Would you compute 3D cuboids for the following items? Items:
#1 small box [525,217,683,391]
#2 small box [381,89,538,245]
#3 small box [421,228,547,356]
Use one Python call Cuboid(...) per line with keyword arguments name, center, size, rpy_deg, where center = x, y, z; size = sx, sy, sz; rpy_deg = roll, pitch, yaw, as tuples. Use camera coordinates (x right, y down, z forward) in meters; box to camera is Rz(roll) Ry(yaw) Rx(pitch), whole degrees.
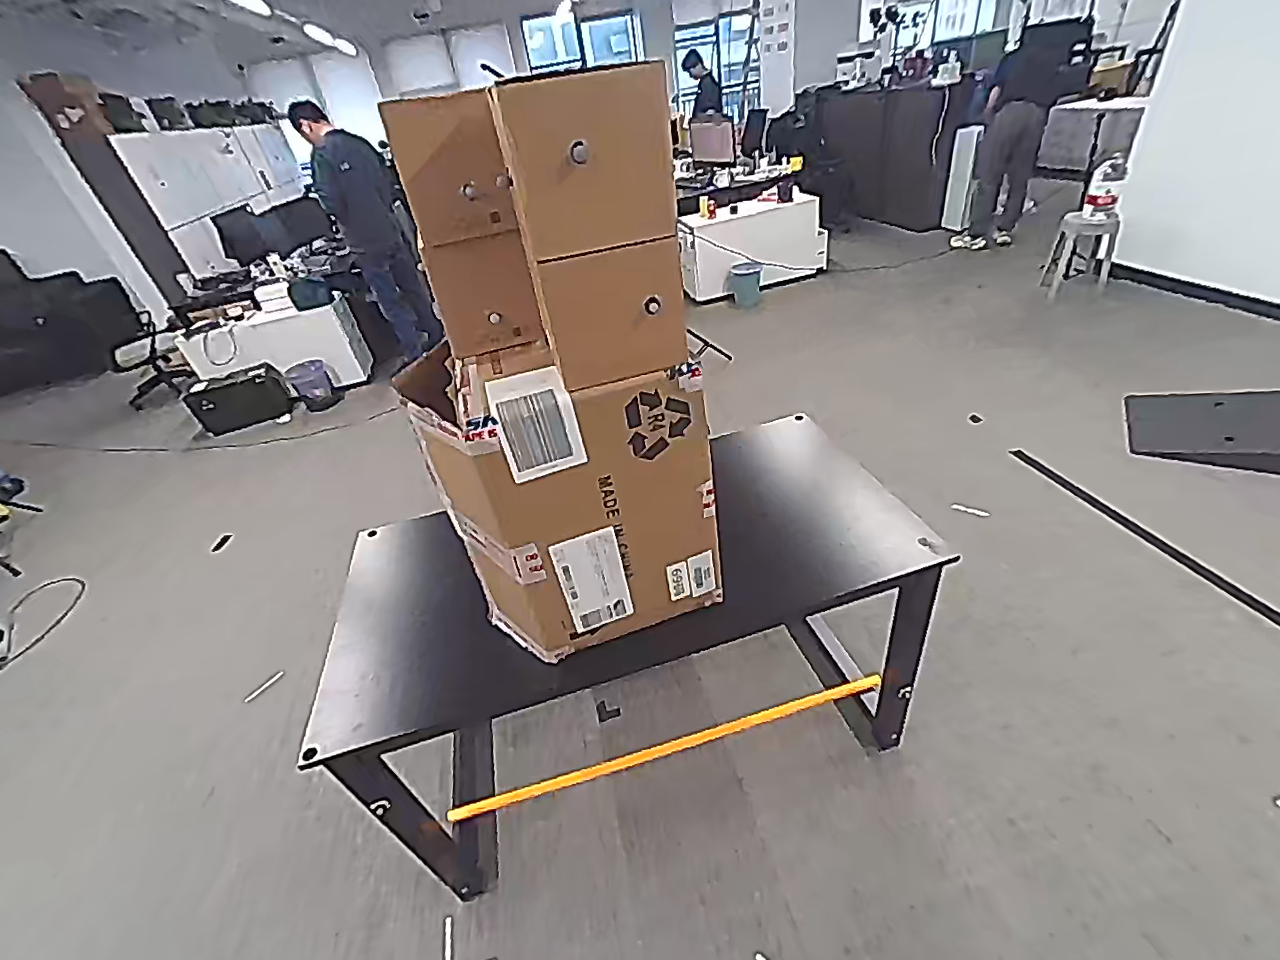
Cuboid(name="small box", center=(-0.046, -0.244, 0.745), size=(0.179, 0.176, 0.168), rpy_deg=(-16, 36, -8))
Cuboid(name="small box", center=(-0.261, -0.453, 0.791), size=(0.168, 0.176, 0.179), rpy_deg=(-19, 35, -13))
Cuboid(name="small box", center=(-0.248, -0.321, 0.890), size=(0.168, 0.176, 0.179), rpy_deg=(-17, 36, -12))
